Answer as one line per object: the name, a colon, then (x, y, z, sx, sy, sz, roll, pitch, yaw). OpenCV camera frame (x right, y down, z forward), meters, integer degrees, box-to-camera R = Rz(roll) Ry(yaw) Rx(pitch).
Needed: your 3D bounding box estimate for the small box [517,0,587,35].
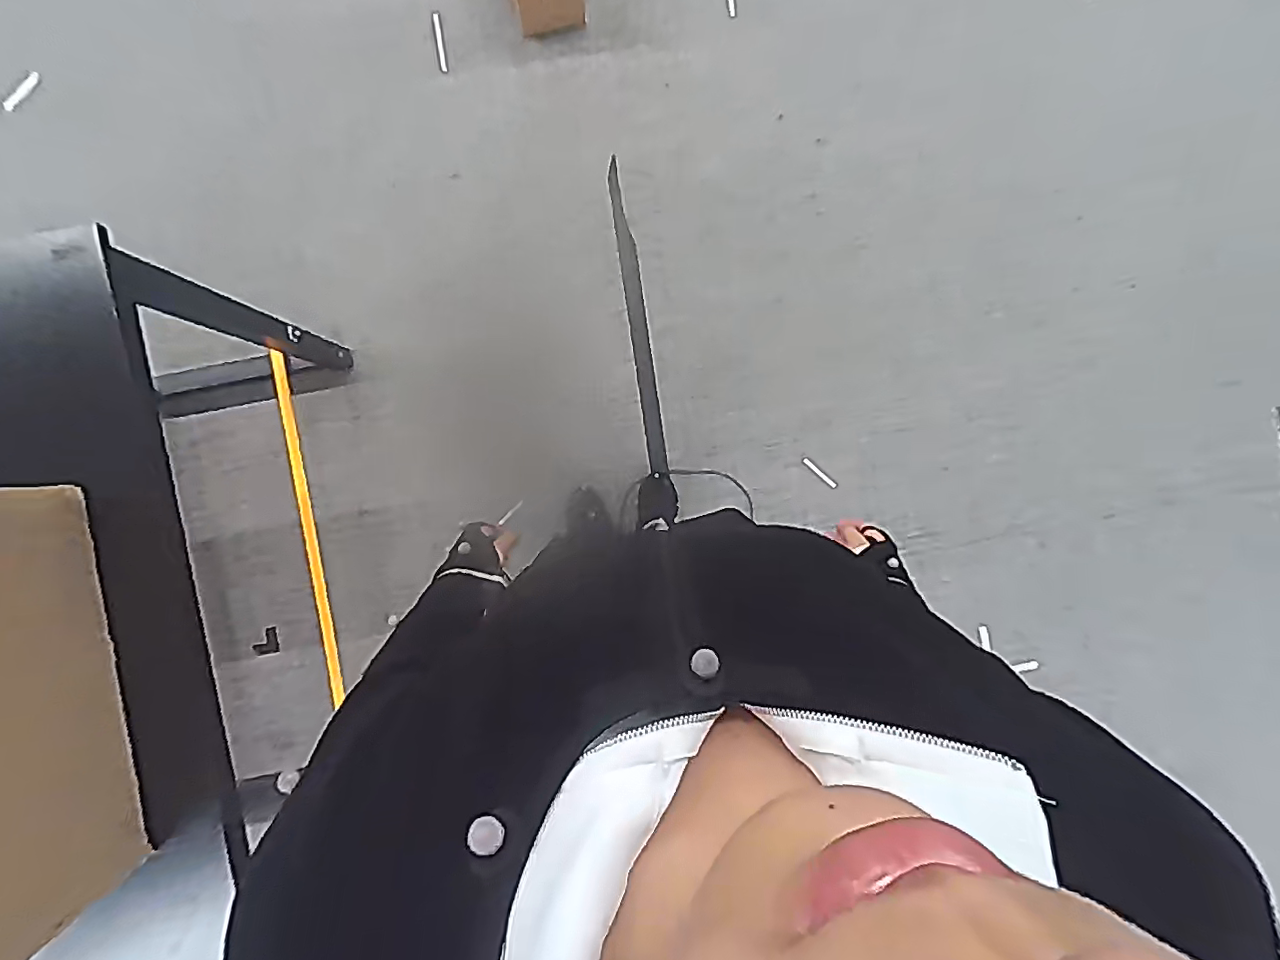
small box: (-0.238, -1.283, 1.375, 0.179, 0.176, 0.168, -13, 92, -3)
